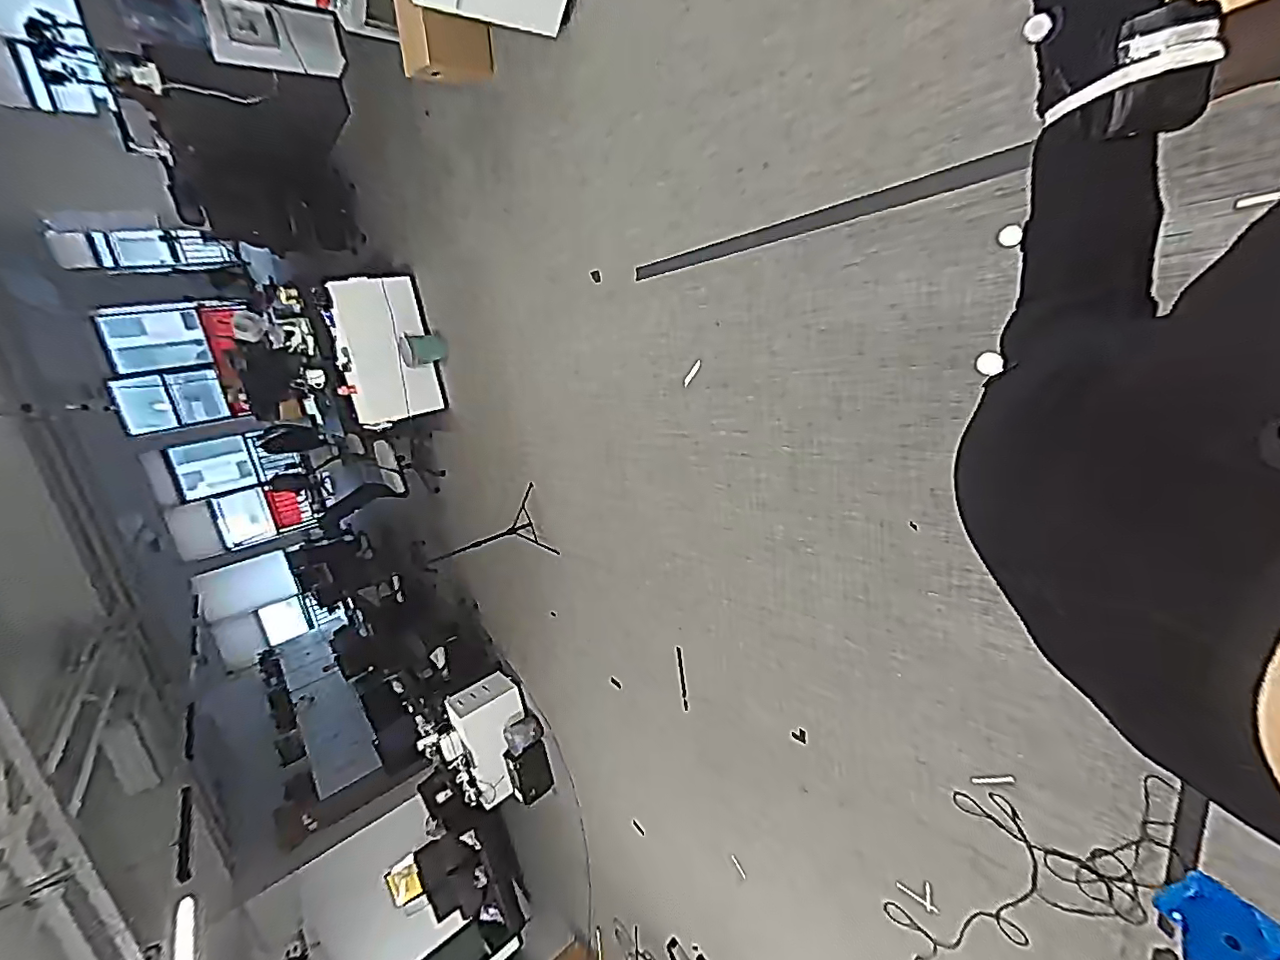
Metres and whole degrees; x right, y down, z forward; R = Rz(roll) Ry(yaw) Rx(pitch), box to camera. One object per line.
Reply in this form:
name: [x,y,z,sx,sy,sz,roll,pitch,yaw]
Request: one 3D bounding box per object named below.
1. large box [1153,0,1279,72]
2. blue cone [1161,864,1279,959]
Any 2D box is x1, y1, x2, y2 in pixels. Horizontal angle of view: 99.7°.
large box: [0.544,-0.481,0.259,0.408,0.320,0.320,7,115,50]
blue cone: [1.284,1.088,1.205,0.193,0.380,0.192,36,133,38]
